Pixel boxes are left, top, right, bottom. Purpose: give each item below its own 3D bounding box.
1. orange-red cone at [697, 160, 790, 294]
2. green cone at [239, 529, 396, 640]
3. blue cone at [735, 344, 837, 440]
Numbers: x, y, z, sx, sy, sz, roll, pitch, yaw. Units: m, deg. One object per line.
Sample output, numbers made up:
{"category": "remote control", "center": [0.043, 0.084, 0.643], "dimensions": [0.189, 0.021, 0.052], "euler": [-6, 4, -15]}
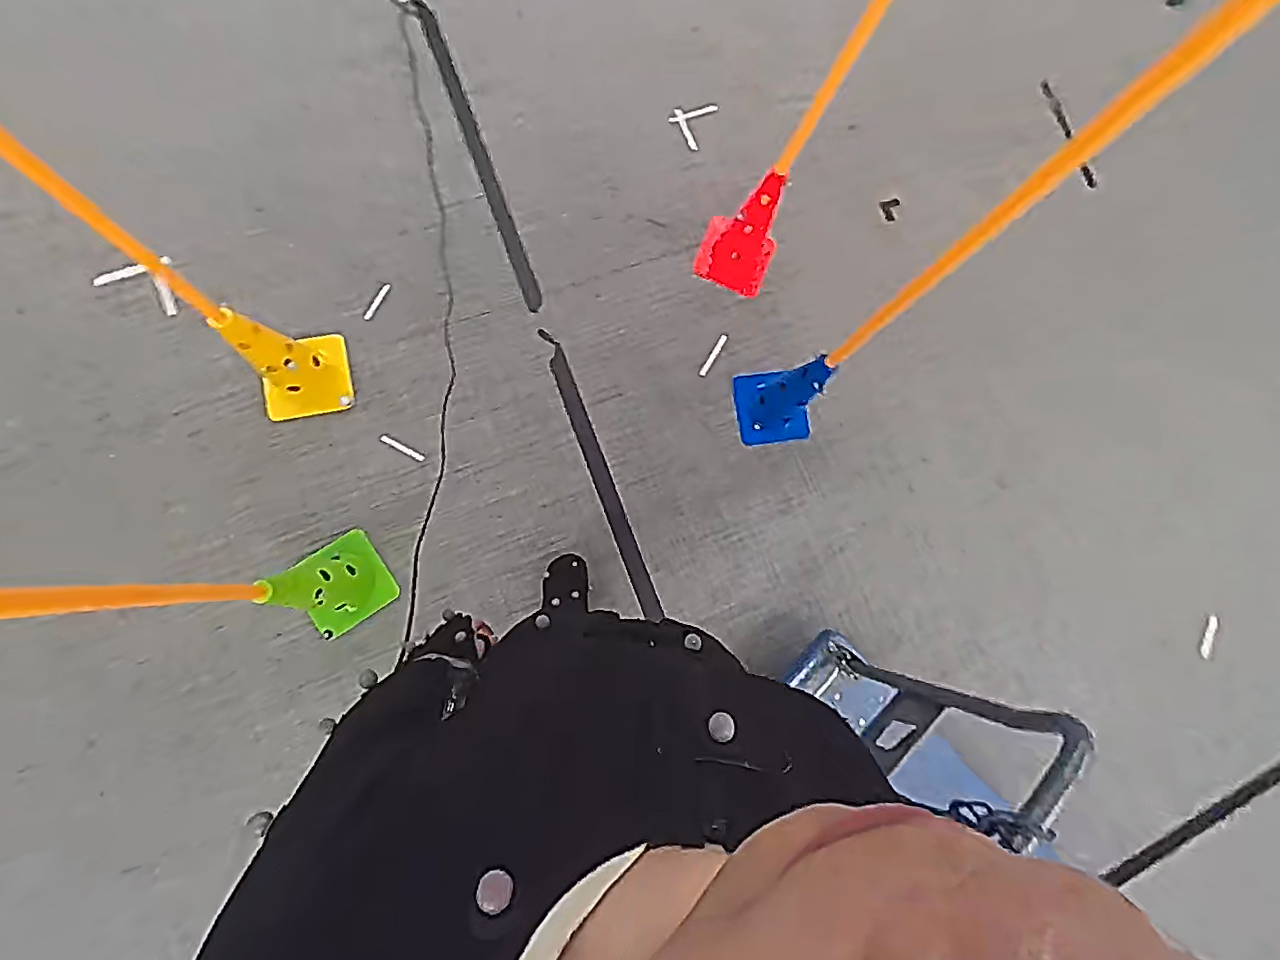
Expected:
{"category": "orange-red cone", "center": [0.298, -0.666, 1.370], "dimensions": [0.198, 0.360, 0.199], "euler": [24, 80, -2]}
{"category": "green cone", "center": [-0.687, 0.217, 1.107], "dimensions": [0.200, 0.368, 0.202], "euler": [-35, 86, -11]}
{"category": "blue cone", "center": [0.384, -0.233, 1.329], "dimensions": [0.193, 0.380, 0.192], "euler": [-6, 81, -8]}
